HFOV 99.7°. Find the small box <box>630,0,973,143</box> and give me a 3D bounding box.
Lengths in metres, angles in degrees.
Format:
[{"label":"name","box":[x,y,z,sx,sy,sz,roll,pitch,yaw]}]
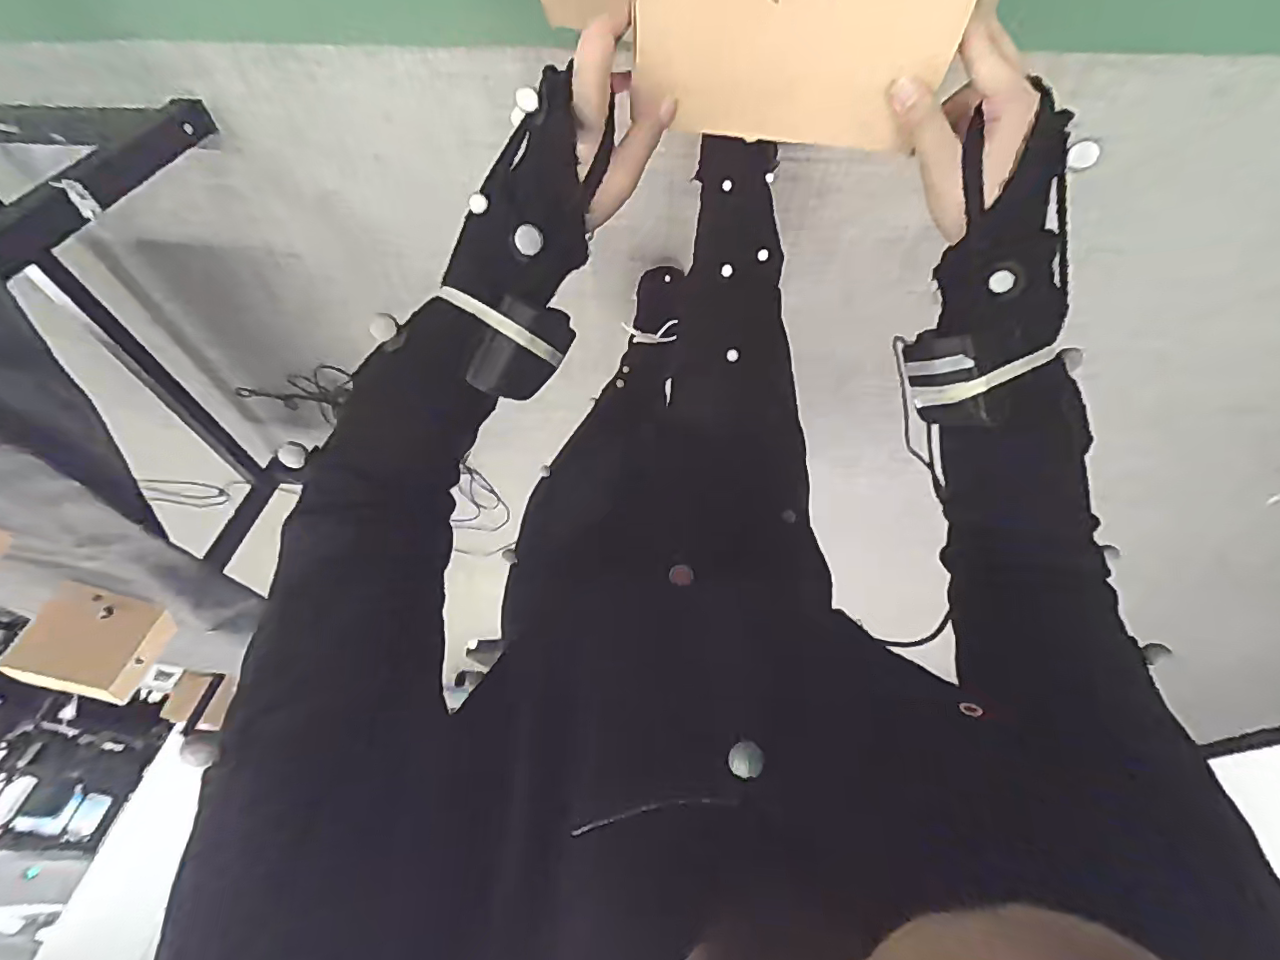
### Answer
[{"label":"small box","box":[0.093,-0.325,0.309,0.179,0.176,0.168,7,144,2]}]
